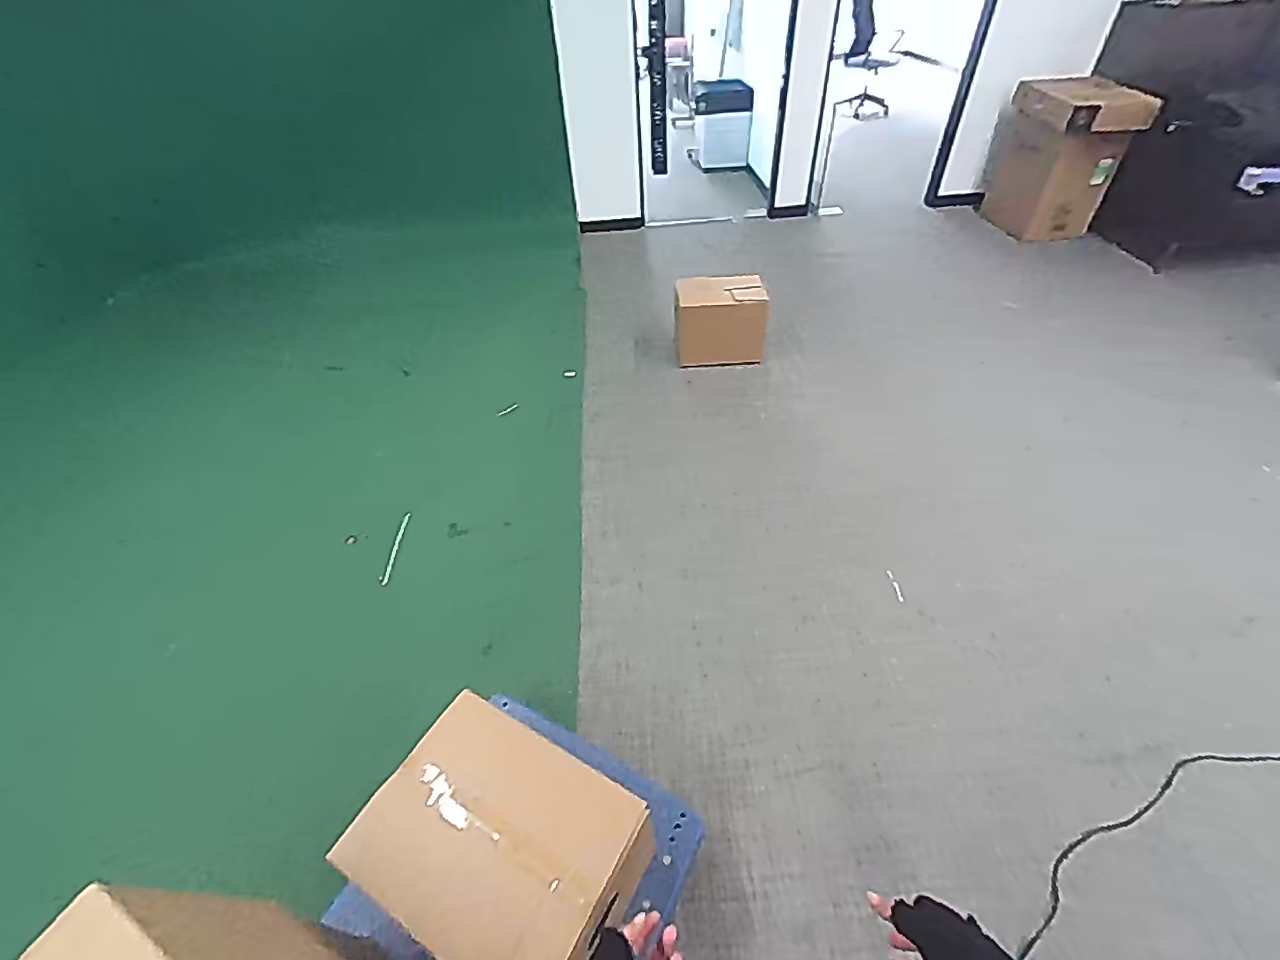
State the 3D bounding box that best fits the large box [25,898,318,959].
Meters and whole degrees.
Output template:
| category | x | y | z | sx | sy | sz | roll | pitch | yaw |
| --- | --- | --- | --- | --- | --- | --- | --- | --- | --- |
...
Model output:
| category | x | y | z | sx | sy | sz | roll | pitch | yaw |
| --- | --- | --- | --- | --- | --- | --- | --- | --- | --- |
| large box | -0.437 | 0.678 | 0.499 | 0.408 | 0.320 | 0.320 | 18 | 52 | 22 |
